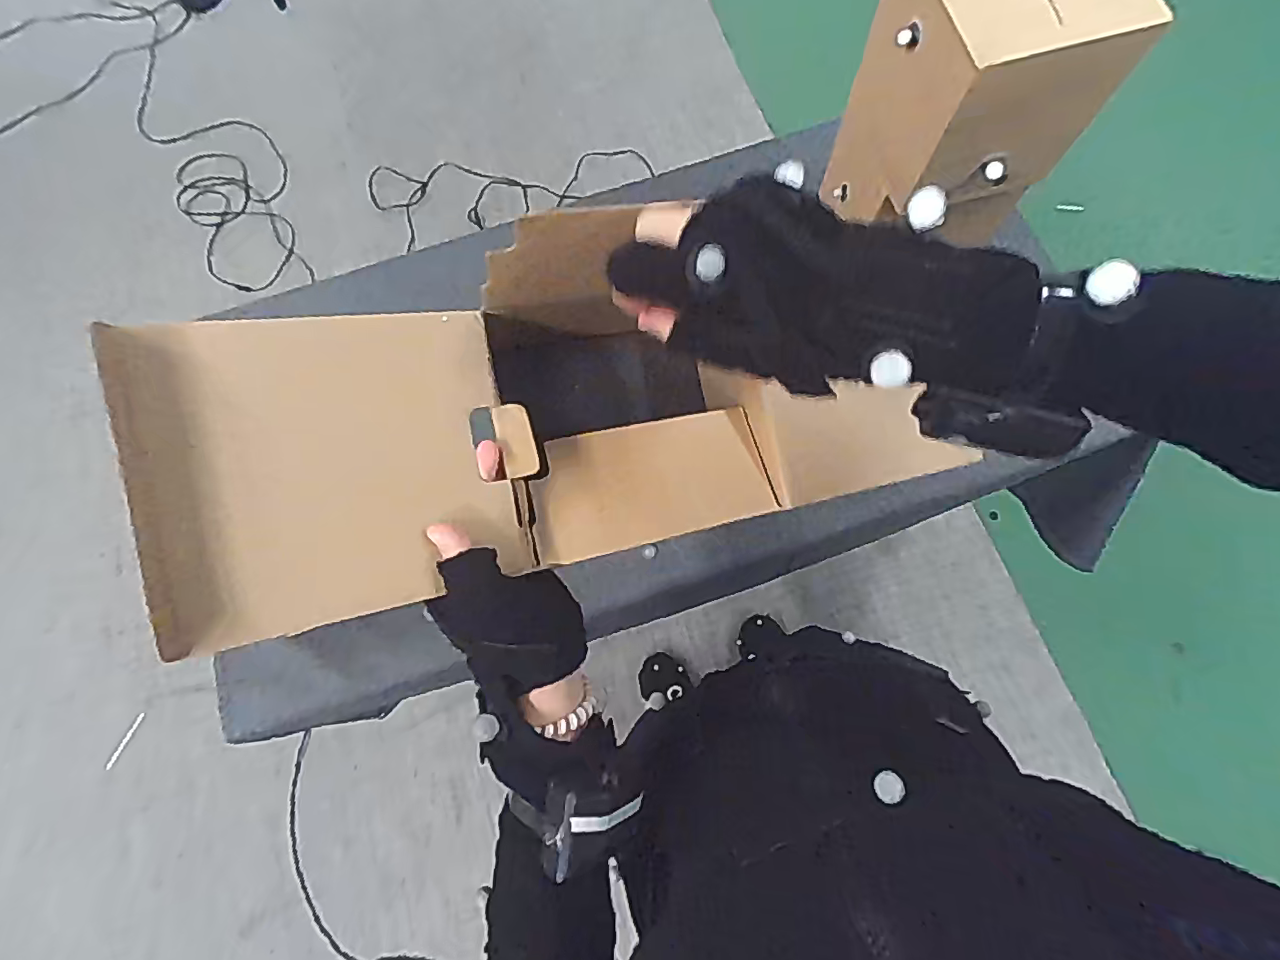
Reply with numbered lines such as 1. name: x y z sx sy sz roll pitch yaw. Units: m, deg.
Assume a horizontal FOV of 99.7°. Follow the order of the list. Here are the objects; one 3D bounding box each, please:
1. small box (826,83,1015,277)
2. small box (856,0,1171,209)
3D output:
1. small box: 0.353 -0.386 0.699 0.179 0.176 0.168 -7 74 2
2. small box: 0.338 -0.411 0.537 0.168 0.176 0.179 -13 75 1
